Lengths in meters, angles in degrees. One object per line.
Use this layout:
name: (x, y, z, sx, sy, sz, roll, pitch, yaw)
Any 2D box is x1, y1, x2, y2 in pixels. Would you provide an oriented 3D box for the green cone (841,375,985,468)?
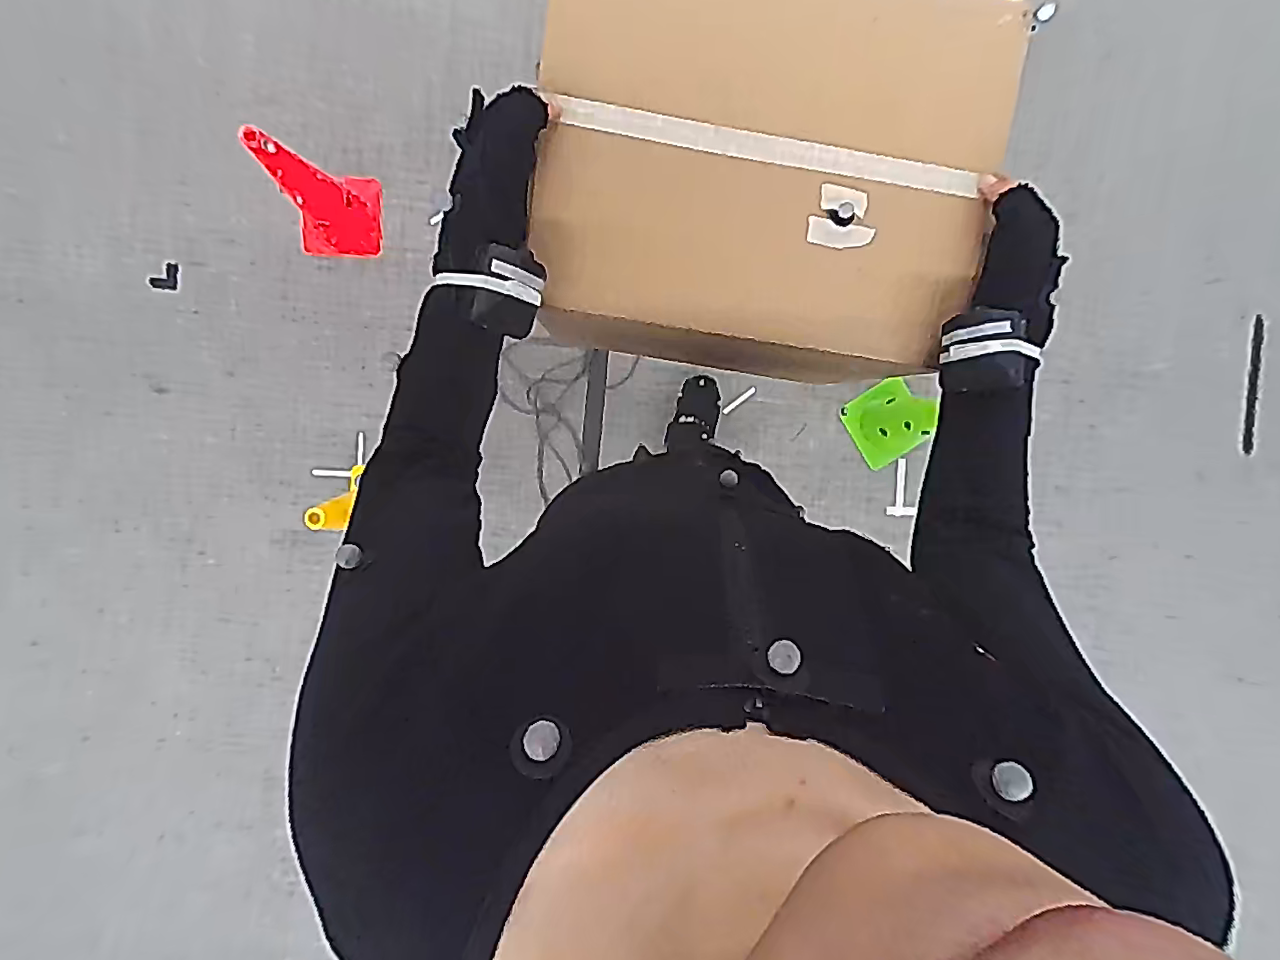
green cone: (0.684, -0.152, 1.303, 0.202, 0.368, 0.200, -33, 94, -2)

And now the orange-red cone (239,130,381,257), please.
orange-red cone: (-0.763, -0.667, 1.222, 0.198, 0.360, 0.199, 2, 94, -2)

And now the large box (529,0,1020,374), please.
large box: (0.104, -0.309, 0.615, 0.408, 0.320, 0.320, 8, 97, -5)
